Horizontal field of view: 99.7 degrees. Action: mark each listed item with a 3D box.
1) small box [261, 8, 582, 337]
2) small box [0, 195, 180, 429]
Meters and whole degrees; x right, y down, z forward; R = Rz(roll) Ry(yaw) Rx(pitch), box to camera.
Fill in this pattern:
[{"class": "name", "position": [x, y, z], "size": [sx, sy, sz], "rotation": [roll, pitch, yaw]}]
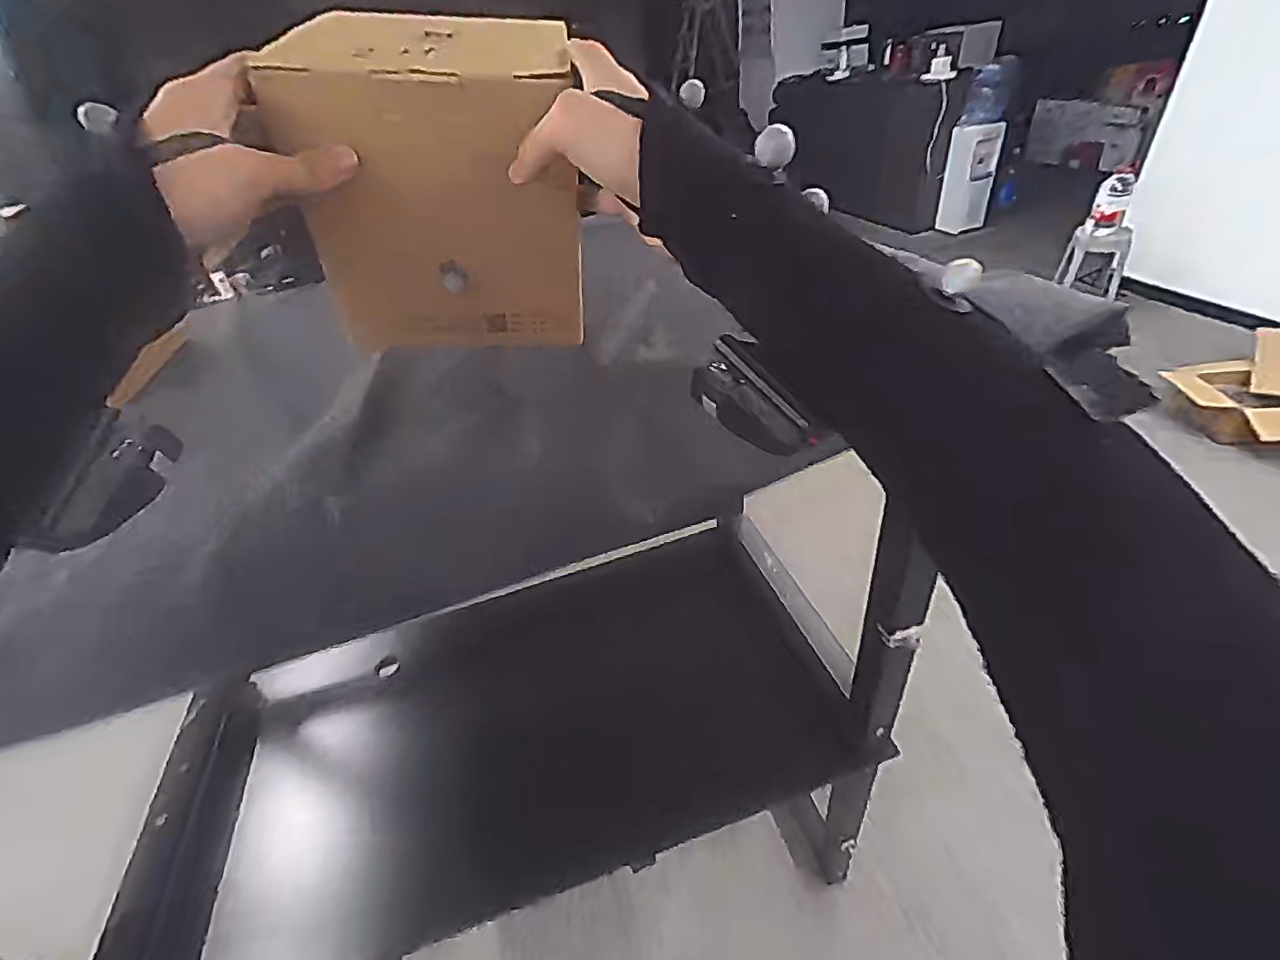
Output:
[{"class": "small box", "position": [-0.130, -0.225, 0.403], "size": [0.168, 0.176, 0.179], "rotation": [-4, 48, -6]}, {"class": "small box", "position": [-0.617, -0.161, 0.536], "size": [0.168, 0.176, 0.179], "rotation": [-16, 38, -8]}]
